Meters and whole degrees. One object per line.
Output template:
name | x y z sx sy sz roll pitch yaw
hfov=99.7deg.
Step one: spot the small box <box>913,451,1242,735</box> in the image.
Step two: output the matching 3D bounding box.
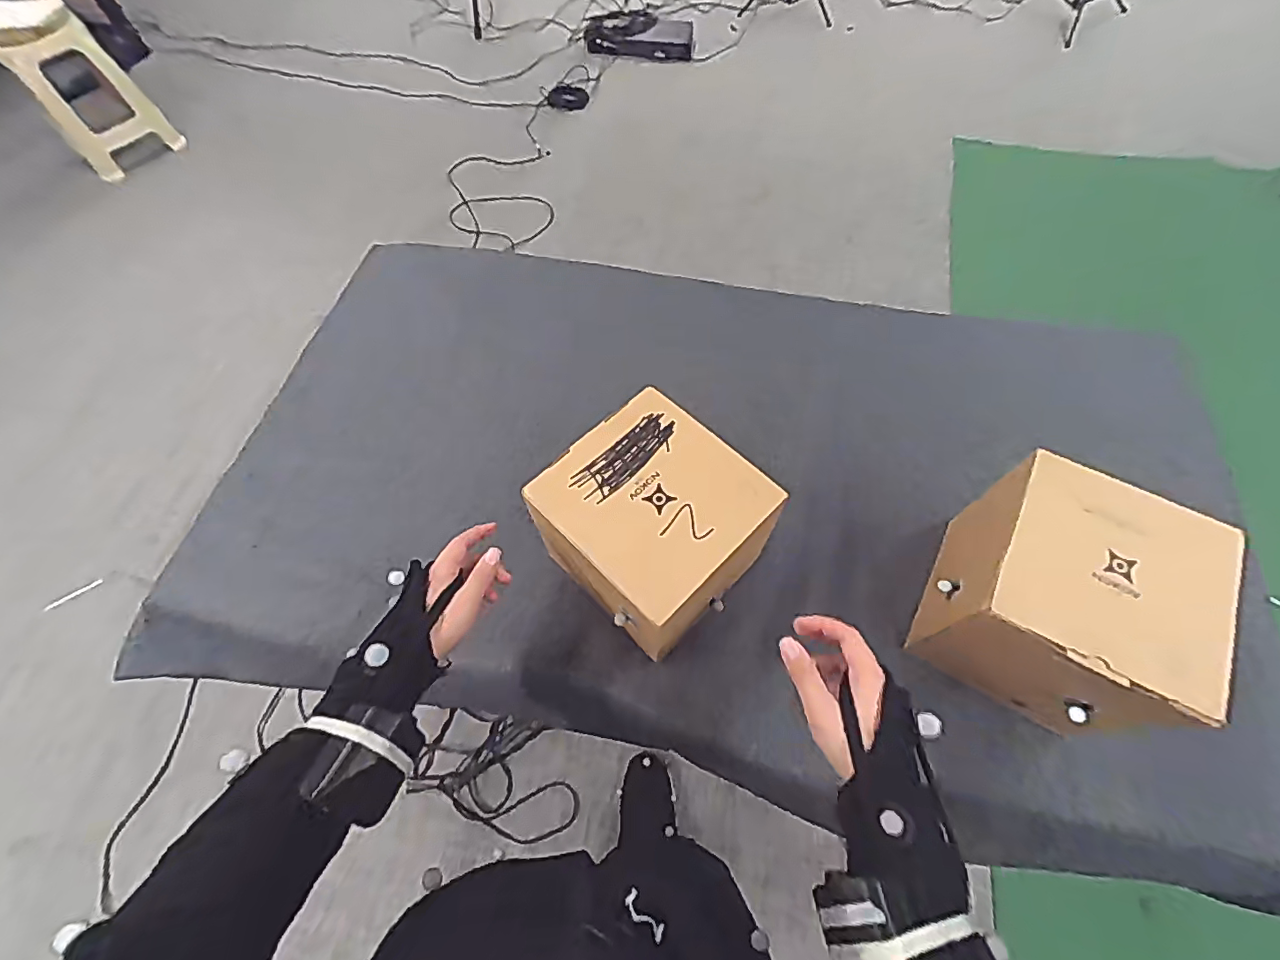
small box | 0.382 0.112 0.502 0.168 0.176 0.179 27 64 15
